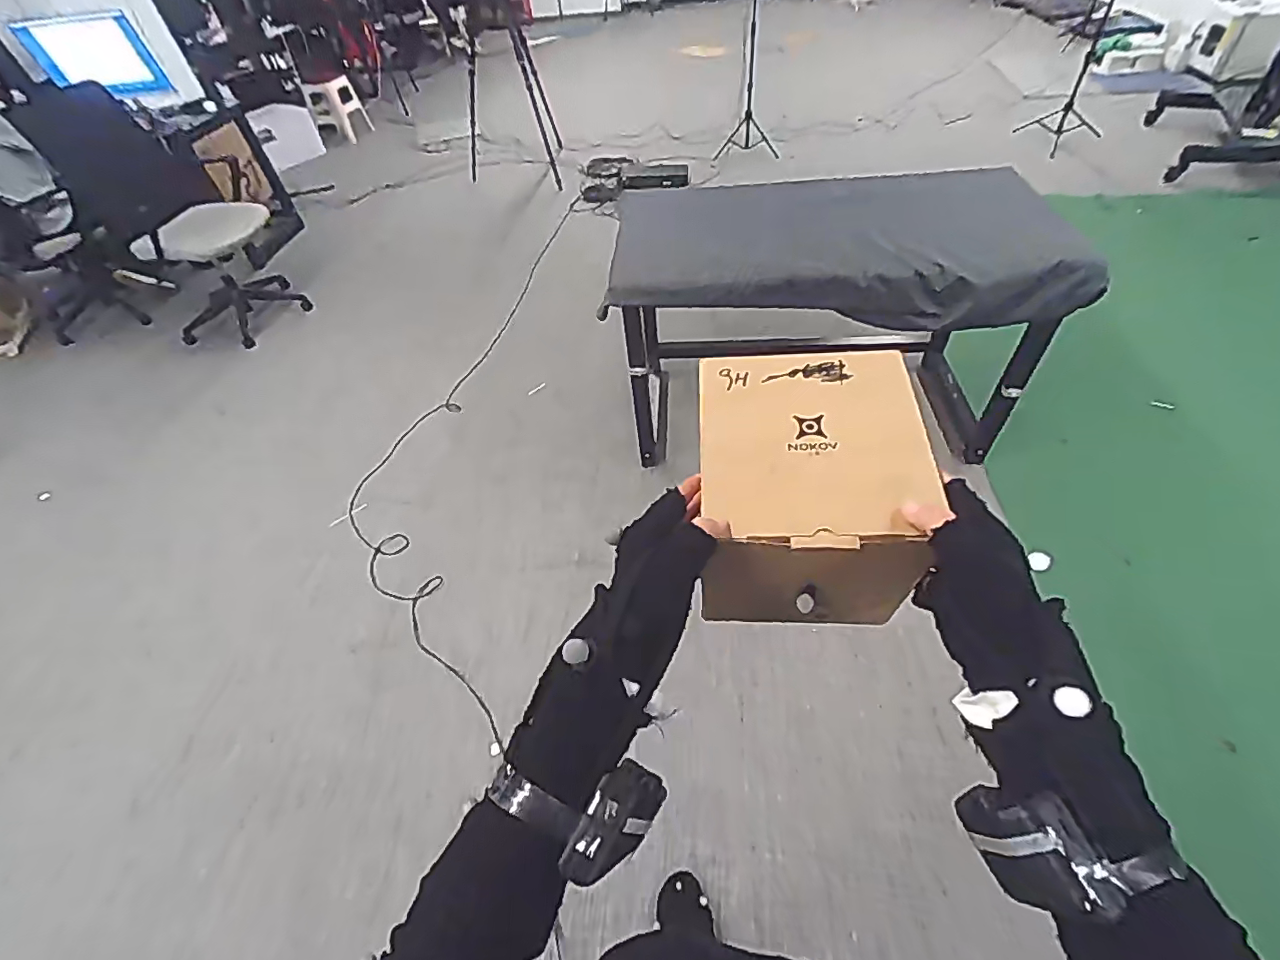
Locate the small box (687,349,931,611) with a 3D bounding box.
[{"bbox_3d":[0.130,0.009,0.481,0.168,0.176,0.179,-1,57,8],"label":"small box"}]
